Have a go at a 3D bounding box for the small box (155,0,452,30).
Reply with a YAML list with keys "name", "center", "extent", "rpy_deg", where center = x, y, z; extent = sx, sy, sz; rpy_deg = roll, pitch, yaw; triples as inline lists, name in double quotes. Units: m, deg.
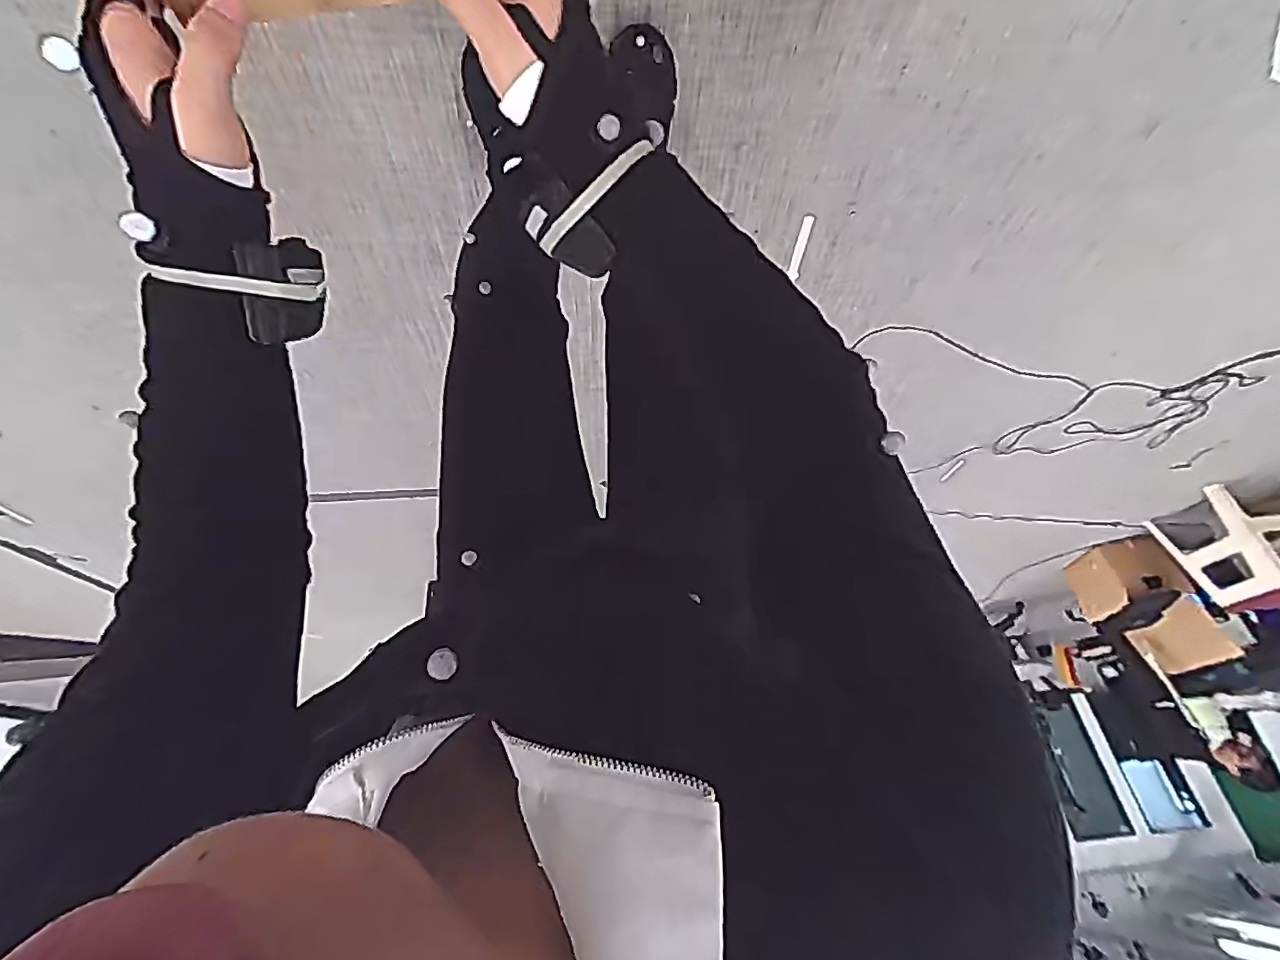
- name: "small box"
  center: [-0.204, -0.383, 0.284]
  extent: [0.168, 0.176, 0.179]
  rpy_deg: [-10, 149, -3]
